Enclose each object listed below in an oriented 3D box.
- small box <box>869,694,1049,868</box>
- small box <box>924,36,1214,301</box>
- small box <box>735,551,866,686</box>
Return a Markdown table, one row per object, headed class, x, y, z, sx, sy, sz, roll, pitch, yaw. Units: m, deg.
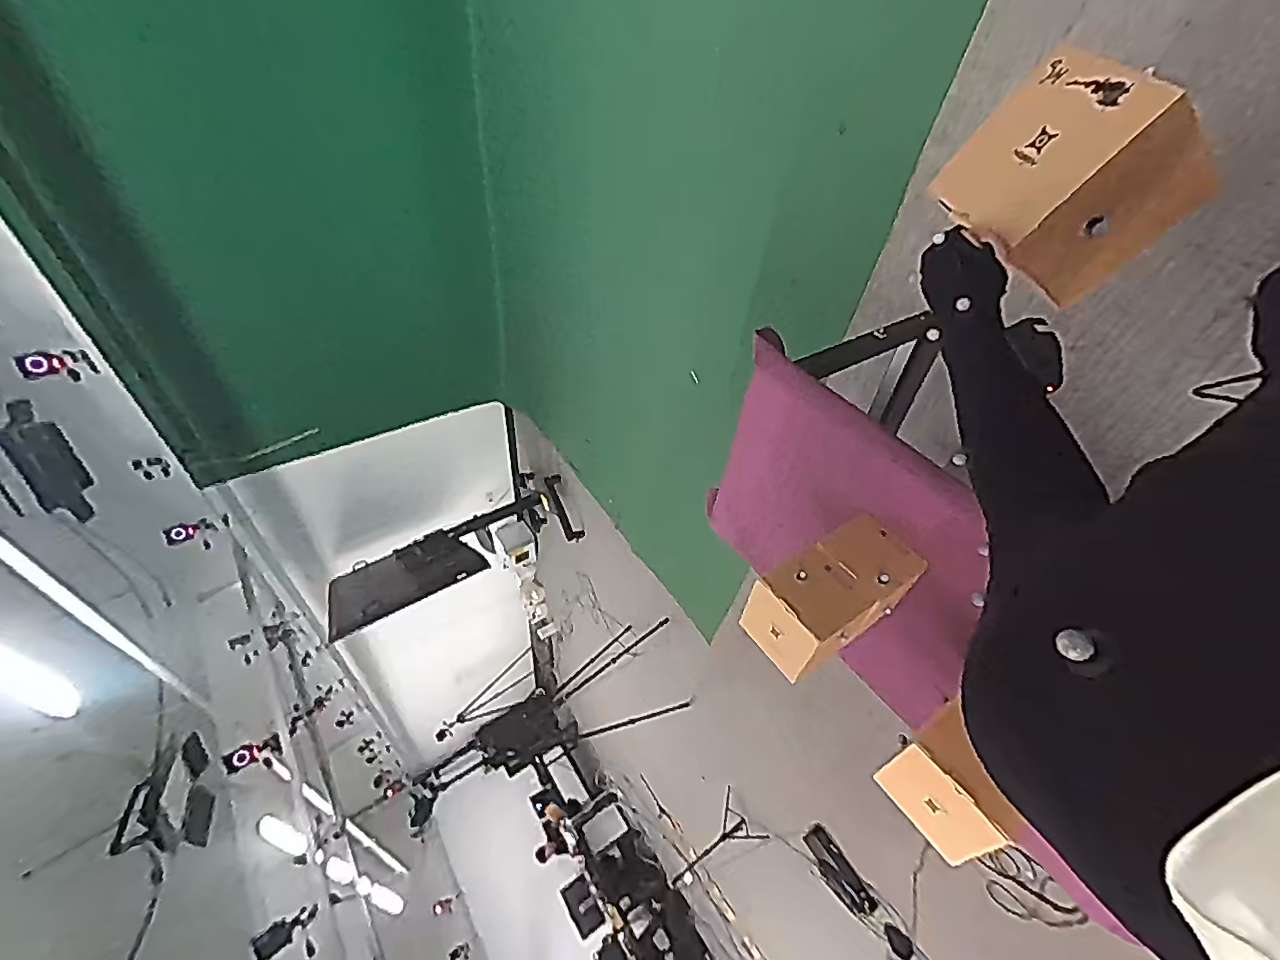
| class | x | y | z | sx | sy | sz | roll | pitch | yaw |
| --- | --- | --- | --- | --- | --- | --- | --- | --- | --- |
| small box | 0.529 | 0.499 | 0.905 | 0.168 | 0.176 | 0.179 | 47 | 146 | 34 |
| small box | 0.478 | -0.338 | 0.616 | 0.179 | 0.176 | 0.168 | -48 | 43 | 36 |
| small box | 0.324 | 0.274 | 1.095 | 0.168 | 0.176 | 0.179 | 48 | 148 | 33 |
